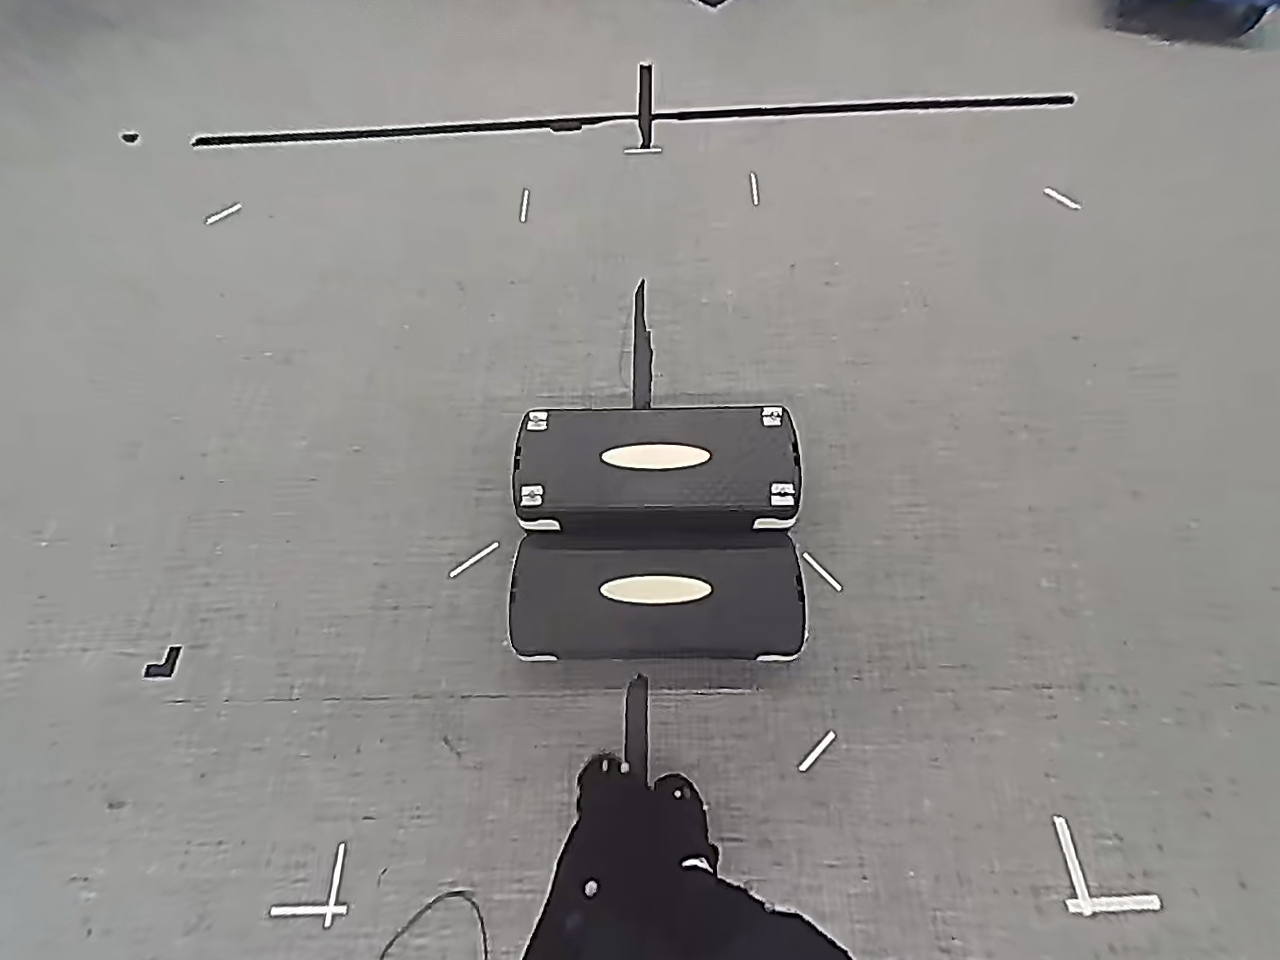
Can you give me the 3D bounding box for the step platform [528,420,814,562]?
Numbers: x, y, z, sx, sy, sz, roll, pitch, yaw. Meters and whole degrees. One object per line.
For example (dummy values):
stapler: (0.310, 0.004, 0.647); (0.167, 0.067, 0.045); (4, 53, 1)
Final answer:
step platform: (0.073, 0.023, 1.336); (0.684, 0.204, 0.286); (3, 64, 3)
